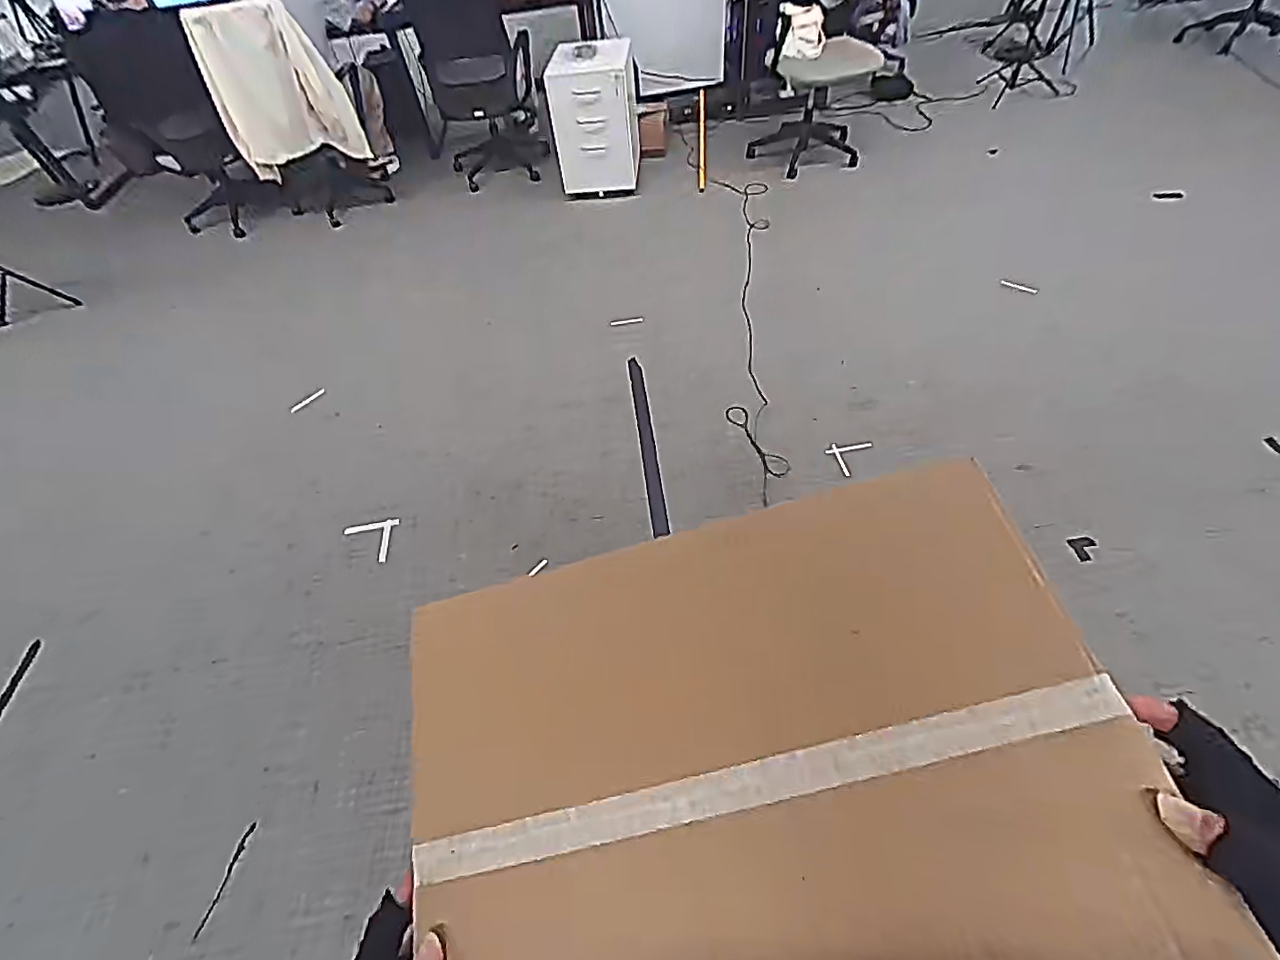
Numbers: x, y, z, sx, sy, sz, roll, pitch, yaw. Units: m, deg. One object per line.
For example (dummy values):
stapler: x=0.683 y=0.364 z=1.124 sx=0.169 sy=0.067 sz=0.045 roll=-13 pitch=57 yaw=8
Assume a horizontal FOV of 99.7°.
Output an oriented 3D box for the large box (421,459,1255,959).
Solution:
large box: x=0.093 y=0.235 z=0.444 sx=0.408 sy=0.320 sz=0.320 roll=-17 pitch=61 yaw=5
